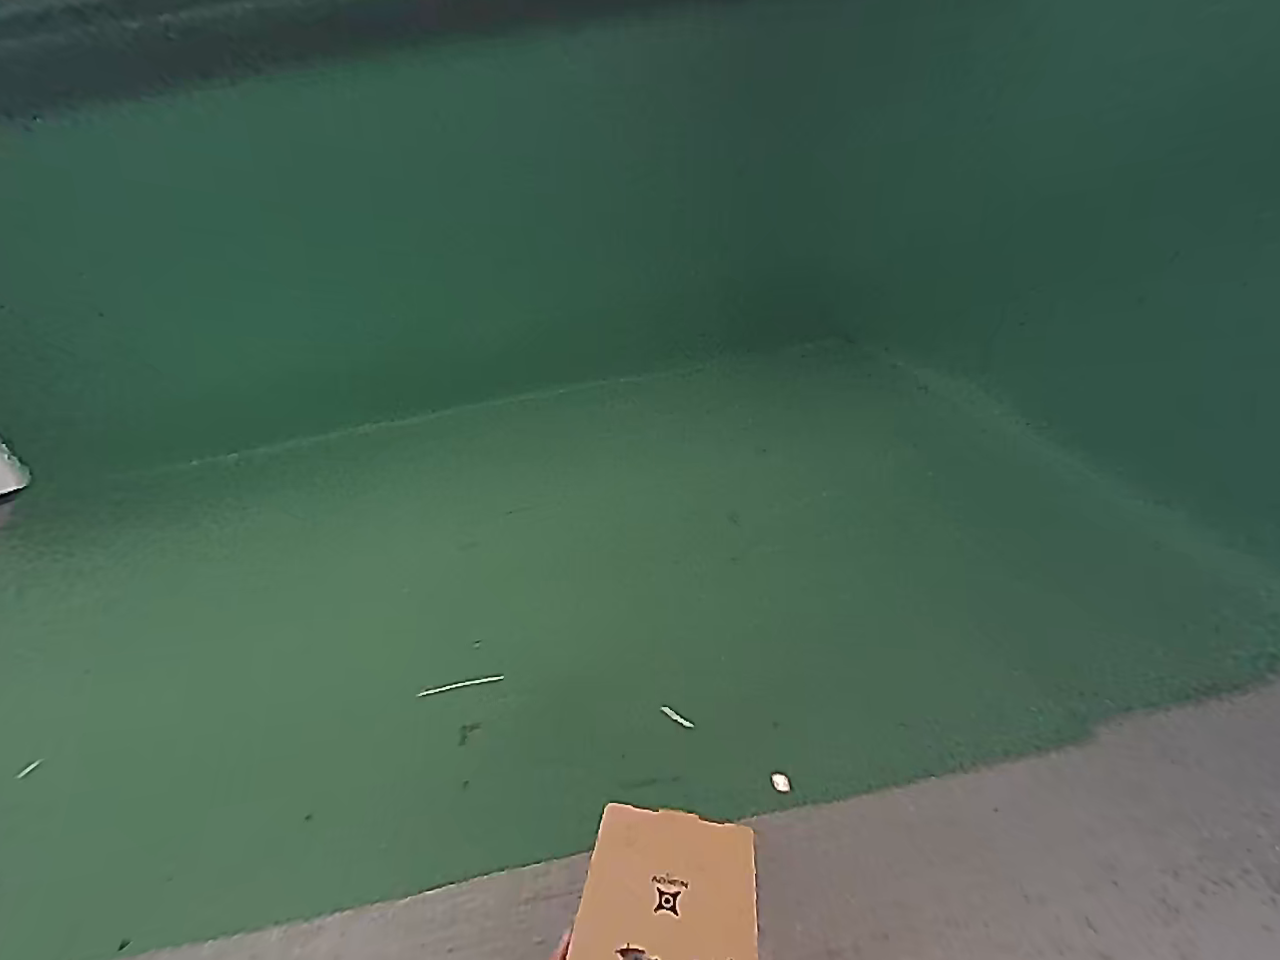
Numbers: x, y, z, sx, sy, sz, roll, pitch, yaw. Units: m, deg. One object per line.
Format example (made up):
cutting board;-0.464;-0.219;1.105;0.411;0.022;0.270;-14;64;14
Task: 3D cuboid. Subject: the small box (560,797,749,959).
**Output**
small box;0.019;0.472;0.554;0.168;0.176;0.179;3;16;7
